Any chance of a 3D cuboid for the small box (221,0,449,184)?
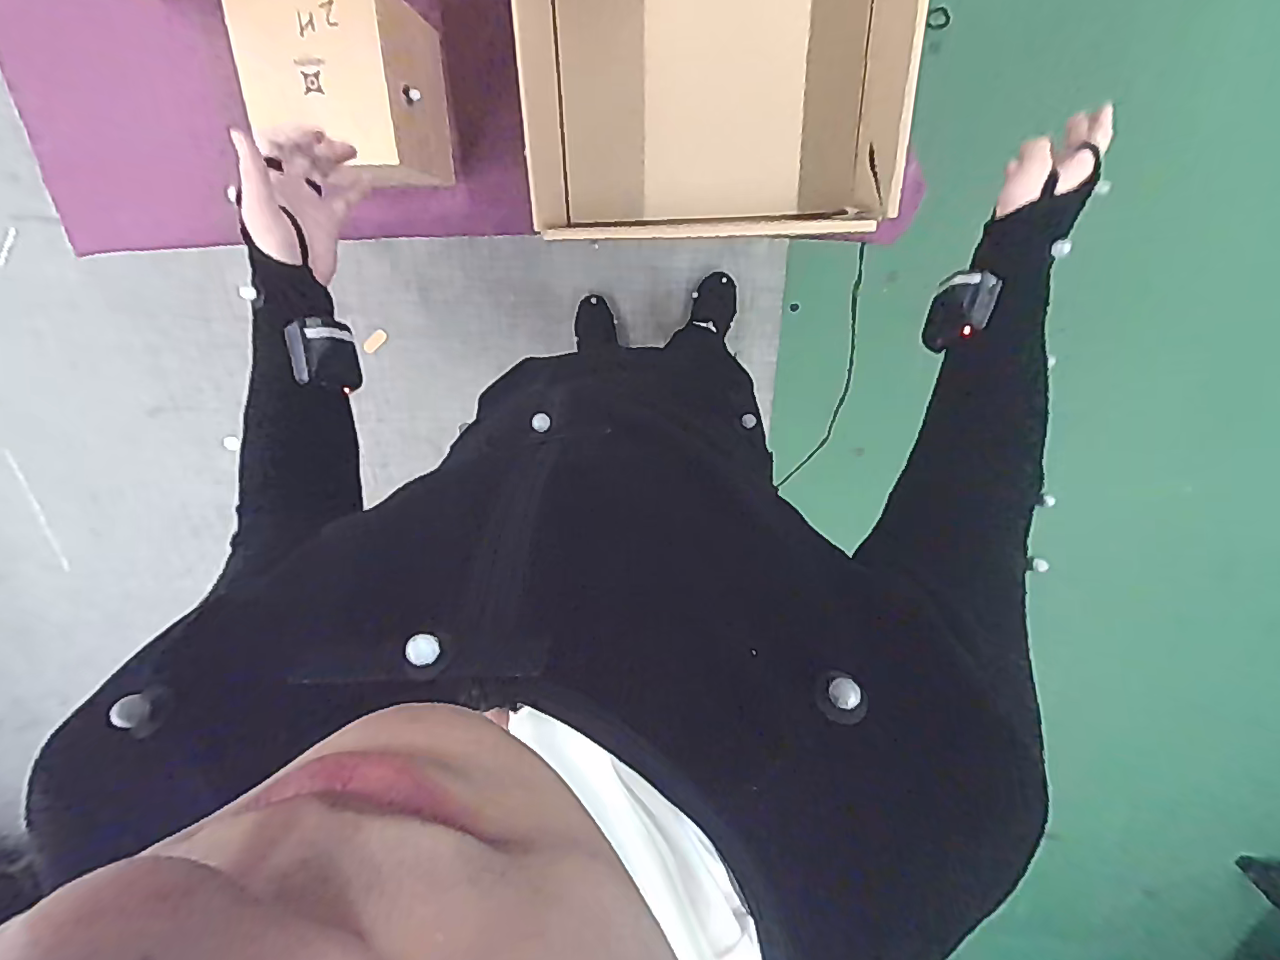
[{"bbox_3d":[-0.347,-0.463,0.653,0.168,0.176,0.179,1,112,3],"label":"small box"}]
